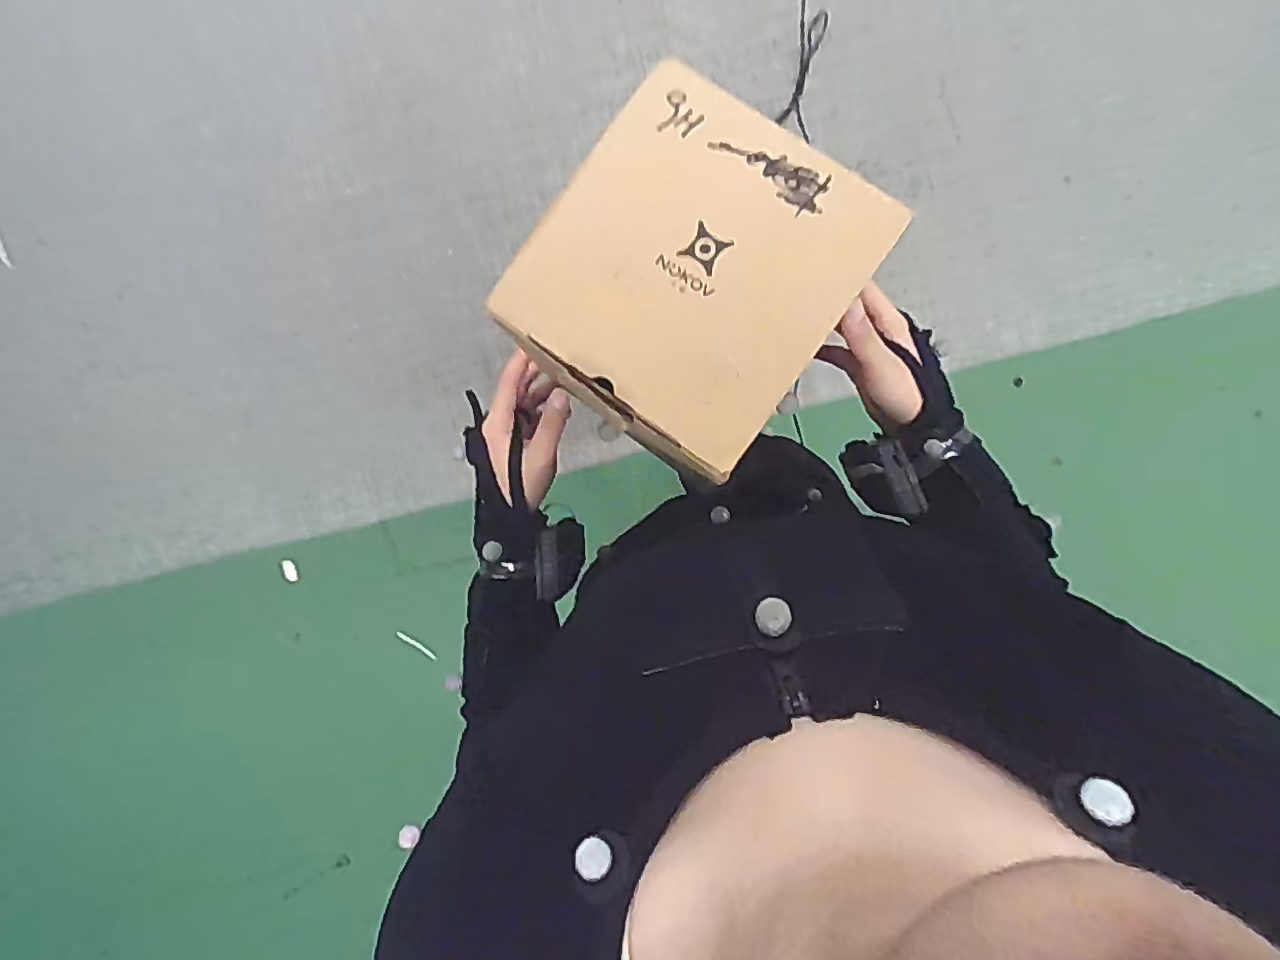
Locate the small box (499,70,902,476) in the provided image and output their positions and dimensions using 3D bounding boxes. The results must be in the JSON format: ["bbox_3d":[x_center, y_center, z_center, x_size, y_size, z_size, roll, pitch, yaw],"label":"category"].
[{"bbox_3d":[0.038,-0.117,0.383,0.168,0.176,0.179,35,90,5],"label":"small box"}]
